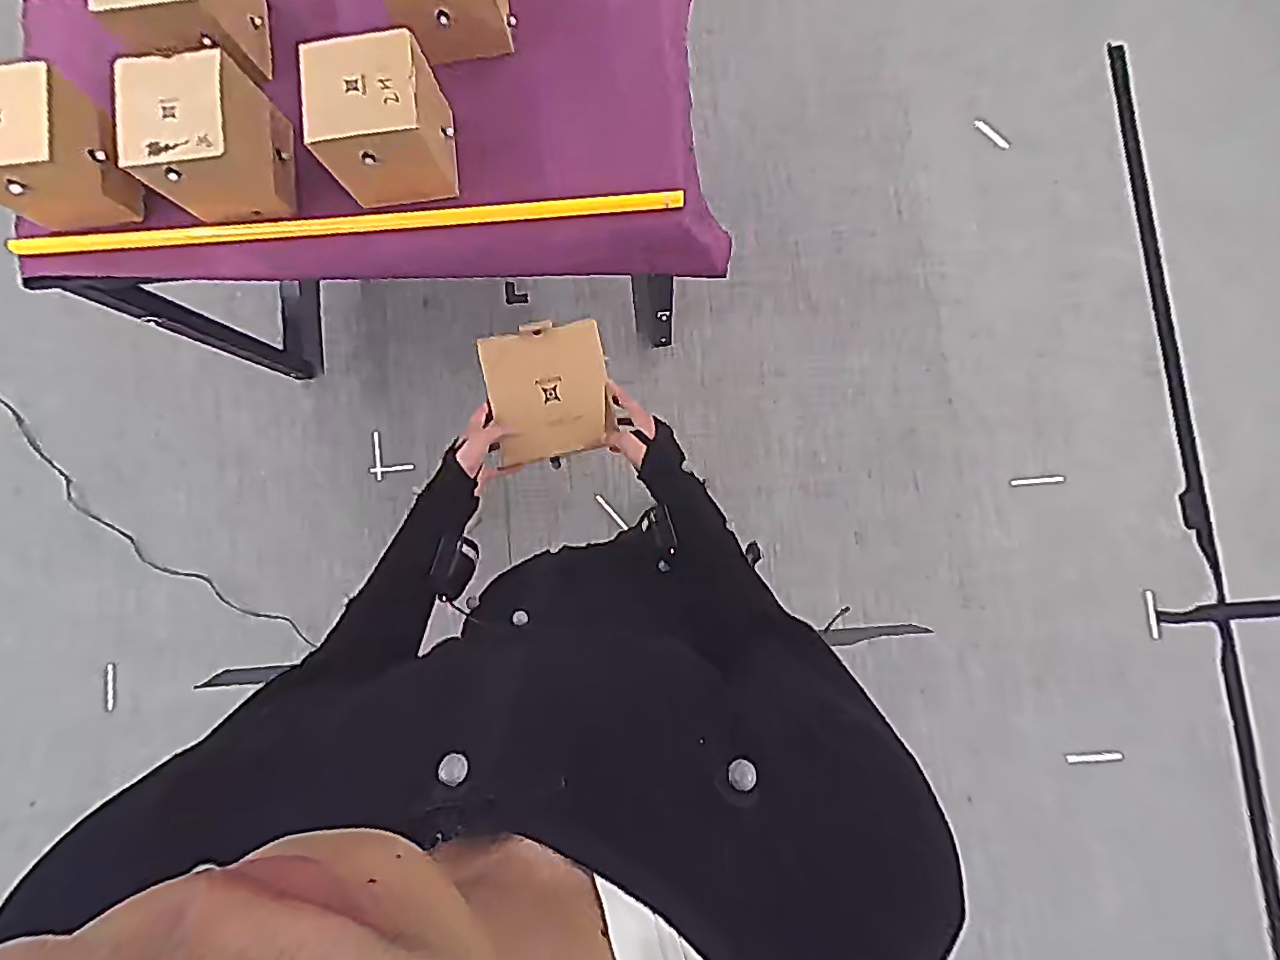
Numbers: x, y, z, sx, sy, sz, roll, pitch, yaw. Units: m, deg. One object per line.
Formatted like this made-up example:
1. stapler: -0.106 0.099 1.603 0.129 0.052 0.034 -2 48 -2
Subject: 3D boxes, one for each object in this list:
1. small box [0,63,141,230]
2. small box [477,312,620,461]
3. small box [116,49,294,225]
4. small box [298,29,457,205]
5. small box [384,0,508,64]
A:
1. small box: -0.986 -0.545 0.904 0.179 0.176 0.168 -6 85 1
2. small box: -0.131 -0.129 0.803 0.168 0.176 0.179 -12 92 -6
3. small box: -0.706 -0.556 0.895 0.168 0.176 0.179 -5 86 2
4. small box: -0.420 -0.578 0.884 0.179 0.176 0.168 -7 84 1
5. small box: -0.327 -0.844 0.900 0.179 0.176 0.168 -8 87 3
